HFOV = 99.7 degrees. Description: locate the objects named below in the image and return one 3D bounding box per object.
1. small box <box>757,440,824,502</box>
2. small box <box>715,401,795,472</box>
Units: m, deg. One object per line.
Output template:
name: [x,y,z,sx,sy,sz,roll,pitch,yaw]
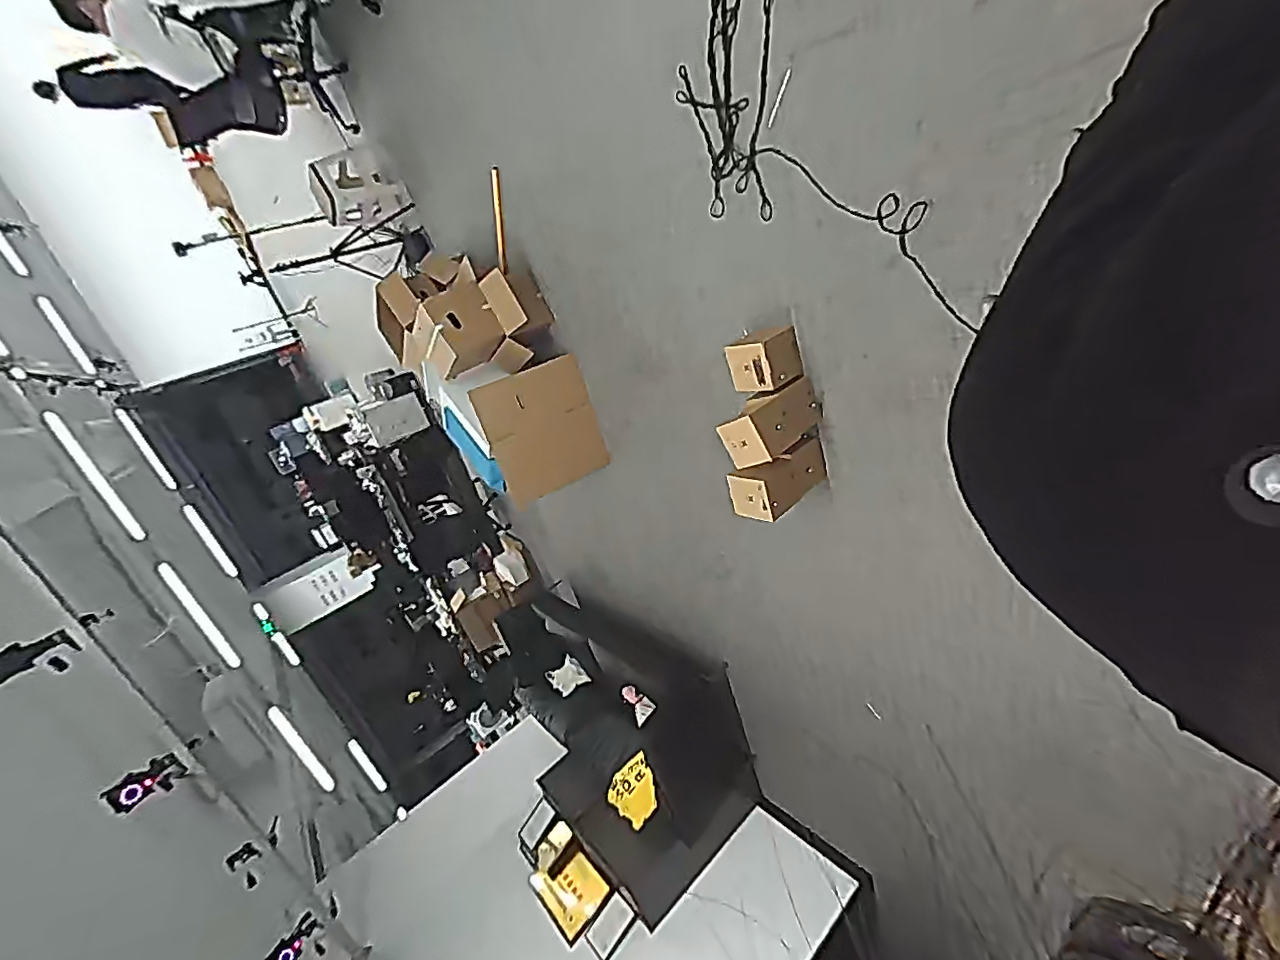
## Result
small box: [0.555,-0.043,2.000,0.168,0.176,0.179,11,127,52]
small box: [0.394,-0.148,1.816,0.179,0.176,0.168,-17,103,60]
